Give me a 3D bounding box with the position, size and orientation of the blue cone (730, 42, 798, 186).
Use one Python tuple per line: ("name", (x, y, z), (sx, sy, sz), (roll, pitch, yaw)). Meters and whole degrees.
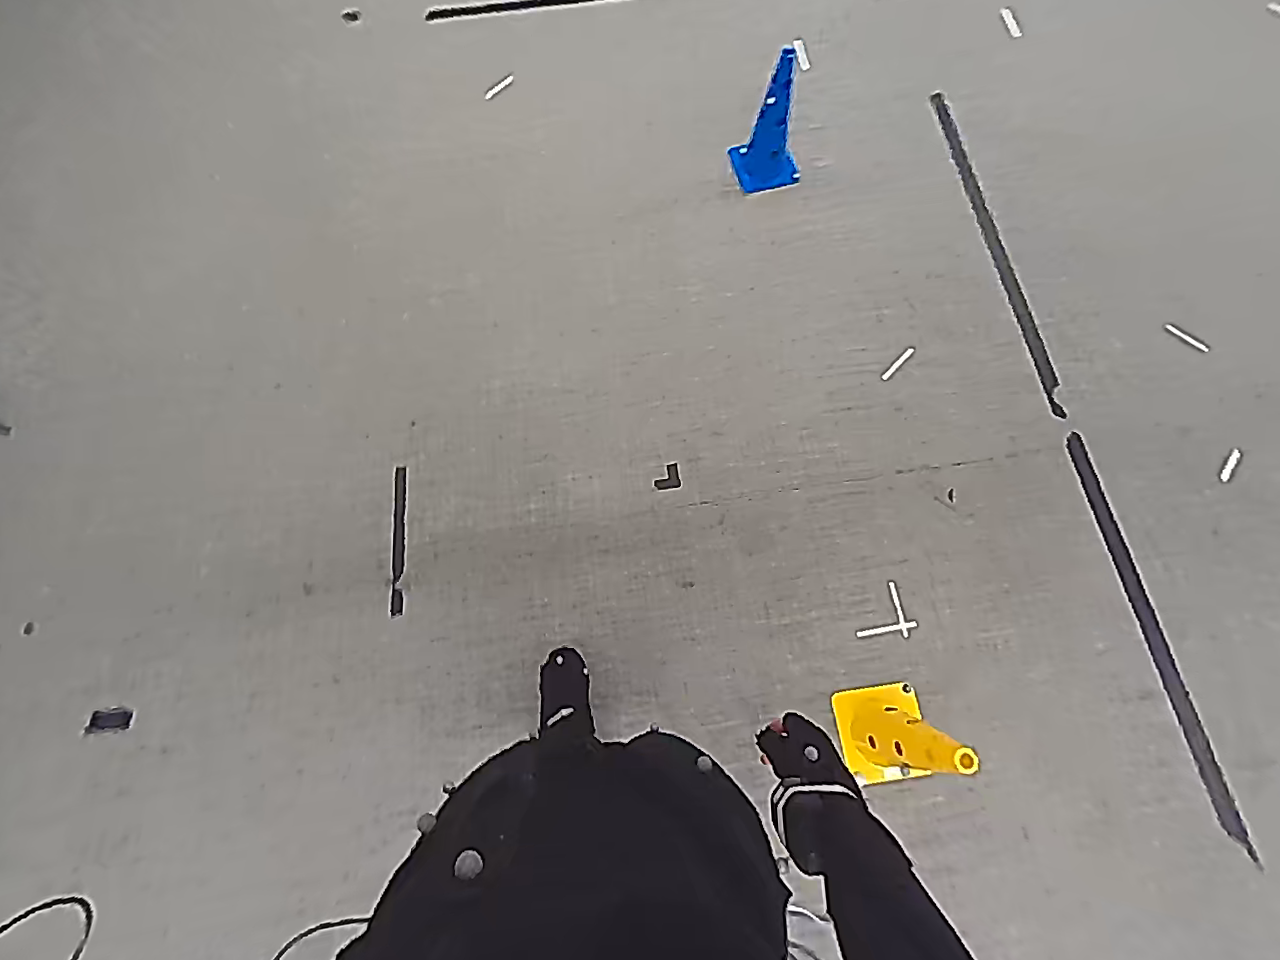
("blue cone", (0.398, -1.100, 1.621), (0.192, 0.380, 0.193), (-13, 72, -3))
